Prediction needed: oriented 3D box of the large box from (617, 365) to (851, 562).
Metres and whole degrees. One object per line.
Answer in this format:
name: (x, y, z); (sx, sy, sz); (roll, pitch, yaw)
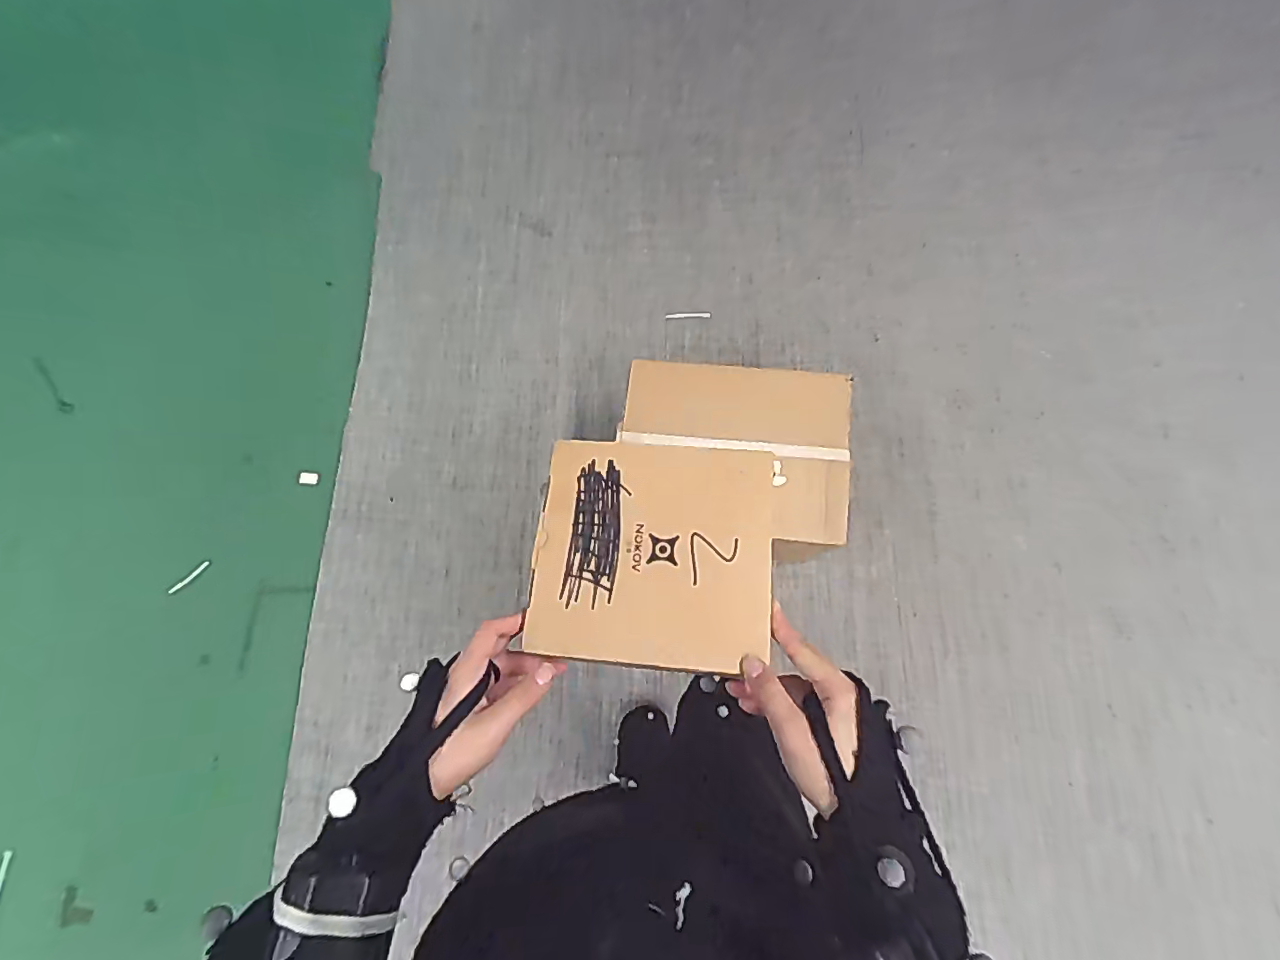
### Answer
large box: (0.180, -0.017, 1.106); (0.408, 0.320, 0.320); (6, 77, 6)
